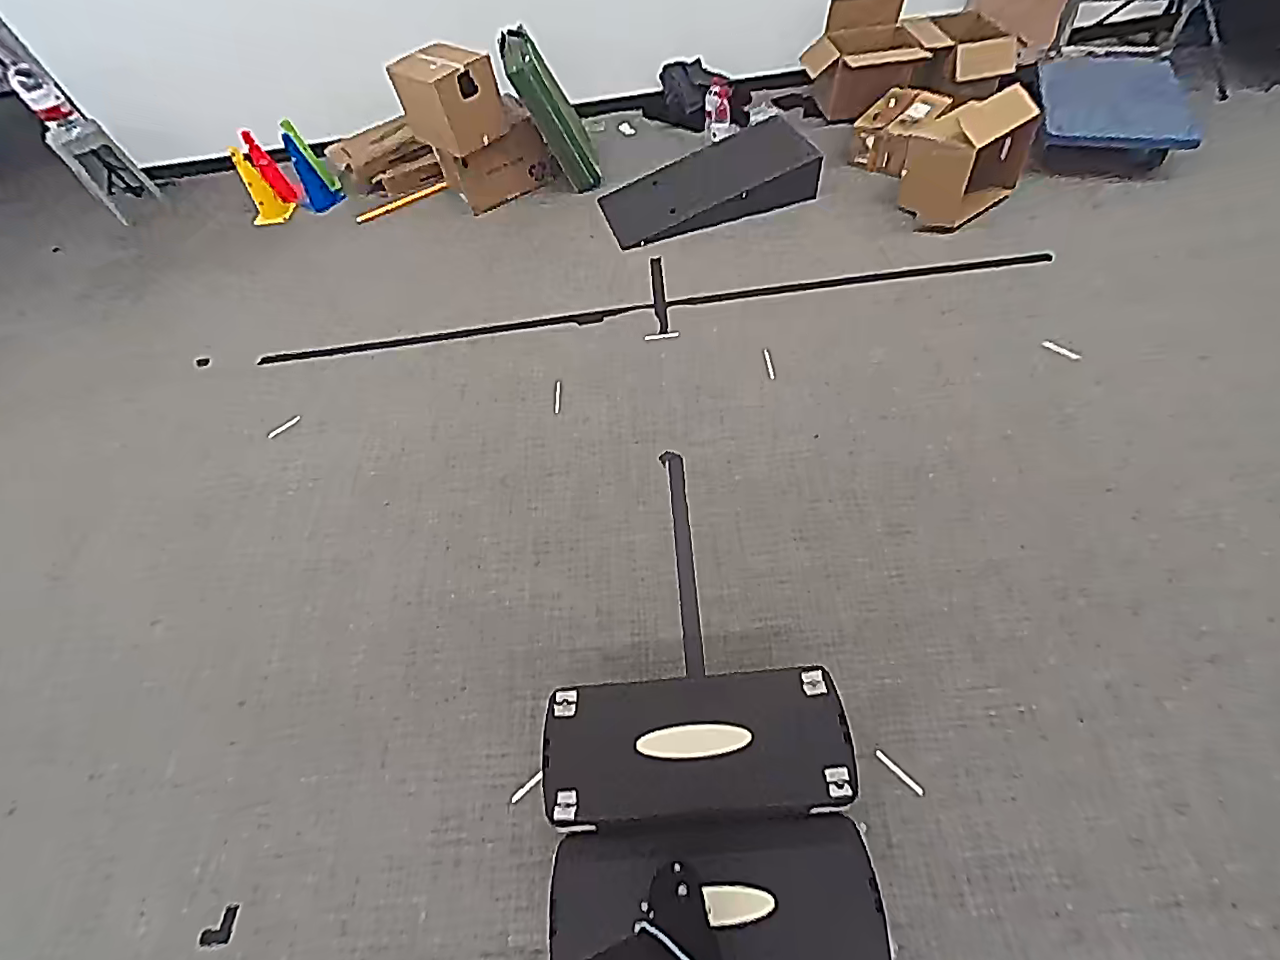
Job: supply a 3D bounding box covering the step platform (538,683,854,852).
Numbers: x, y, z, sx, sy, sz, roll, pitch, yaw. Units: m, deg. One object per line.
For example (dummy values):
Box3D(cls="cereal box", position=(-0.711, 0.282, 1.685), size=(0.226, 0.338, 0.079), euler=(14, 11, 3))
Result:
Box3D(cls="step platform", position=(0.114, 0.648, 1.227), size=(0.684, 0.204, 0.286), euler=(-6, 55, 2))
